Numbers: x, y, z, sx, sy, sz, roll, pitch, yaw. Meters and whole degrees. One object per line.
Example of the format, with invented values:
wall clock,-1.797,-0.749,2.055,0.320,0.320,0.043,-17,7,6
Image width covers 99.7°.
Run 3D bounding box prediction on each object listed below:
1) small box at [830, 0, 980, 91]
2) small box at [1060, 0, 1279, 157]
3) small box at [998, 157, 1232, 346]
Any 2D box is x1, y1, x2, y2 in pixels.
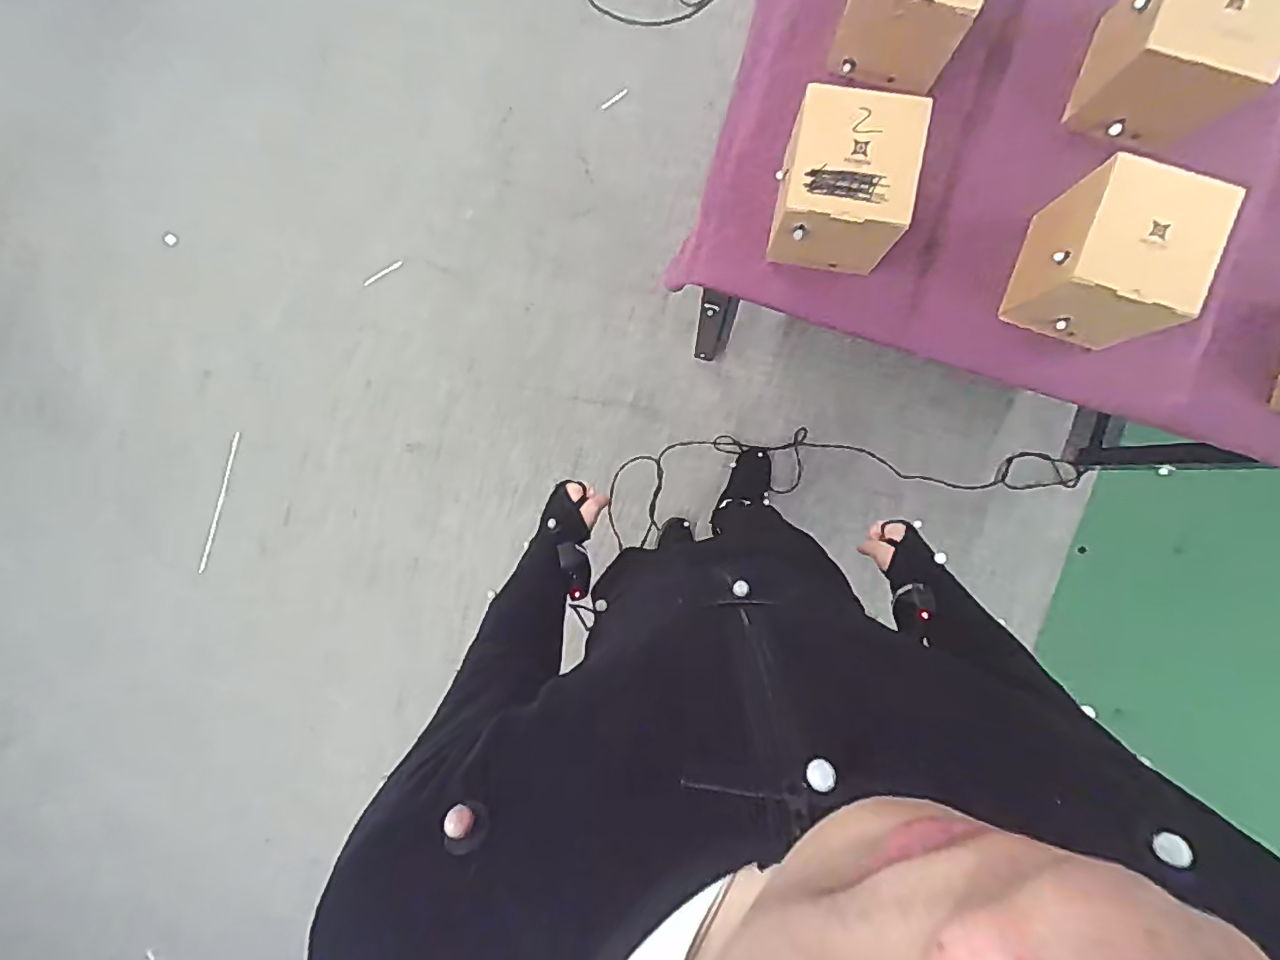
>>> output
small box,0.396,-0.718,0.785,0.168,0.176,0.179,19,94,2
small box,0.757,-0.611,0.771,0.168,0.176,0.179,21,94,3
small box,0.668,-0.317,0.786,0.168,0.176,0.179,19,92,2
